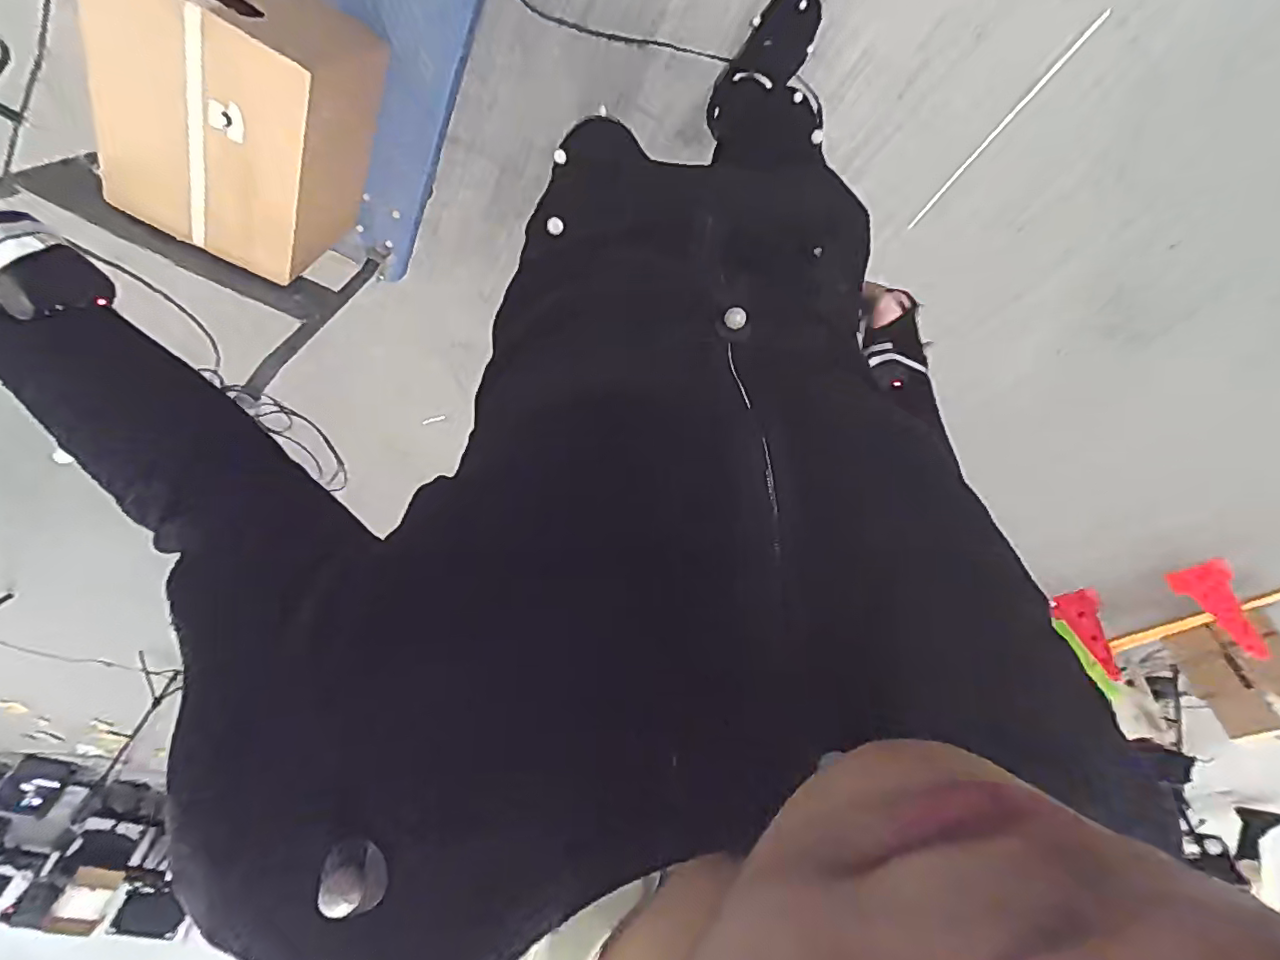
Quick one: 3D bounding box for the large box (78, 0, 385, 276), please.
[{"bbox_3d":[-0.714,-0.675,0.990,0.320,0.320,0.408,25,131,-19],"label":"large box"}]
